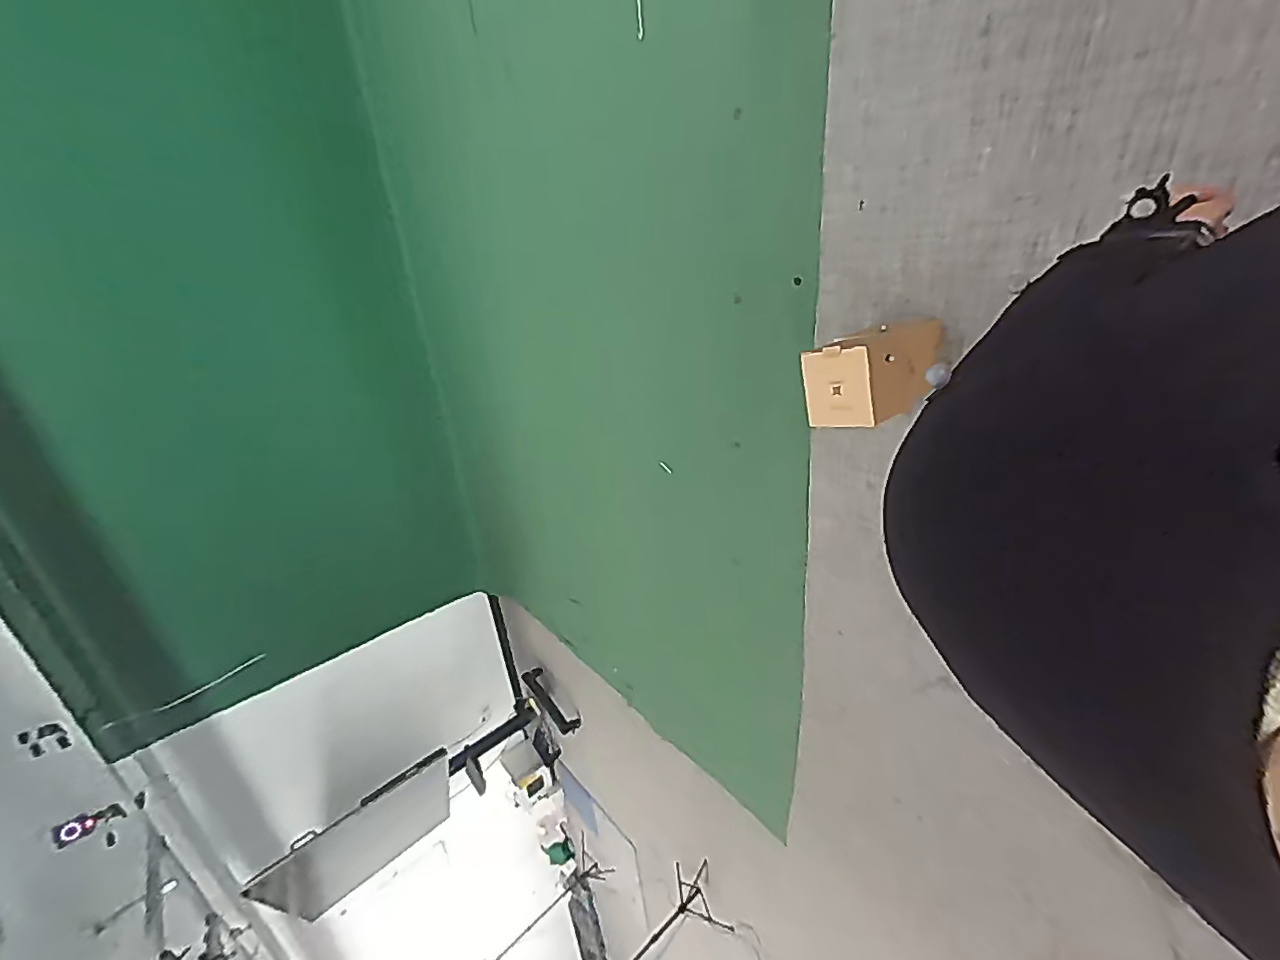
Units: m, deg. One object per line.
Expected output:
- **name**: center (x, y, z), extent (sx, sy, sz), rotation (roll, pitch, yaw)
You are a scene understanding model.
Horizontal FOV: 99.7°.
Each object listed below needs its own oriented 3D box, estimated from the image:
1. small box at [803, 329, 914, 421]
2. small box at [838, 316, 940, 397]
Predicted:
- **small box**: center (0.500, -0.239, 1.230), extent (0.168, 0.176, 0.179), rotation (7, 116, 53)
- **small box**: center (0.616, -0.300, 1.326), extent (0.179, 0.176, 0.168), rotation (11, 118, 52)
